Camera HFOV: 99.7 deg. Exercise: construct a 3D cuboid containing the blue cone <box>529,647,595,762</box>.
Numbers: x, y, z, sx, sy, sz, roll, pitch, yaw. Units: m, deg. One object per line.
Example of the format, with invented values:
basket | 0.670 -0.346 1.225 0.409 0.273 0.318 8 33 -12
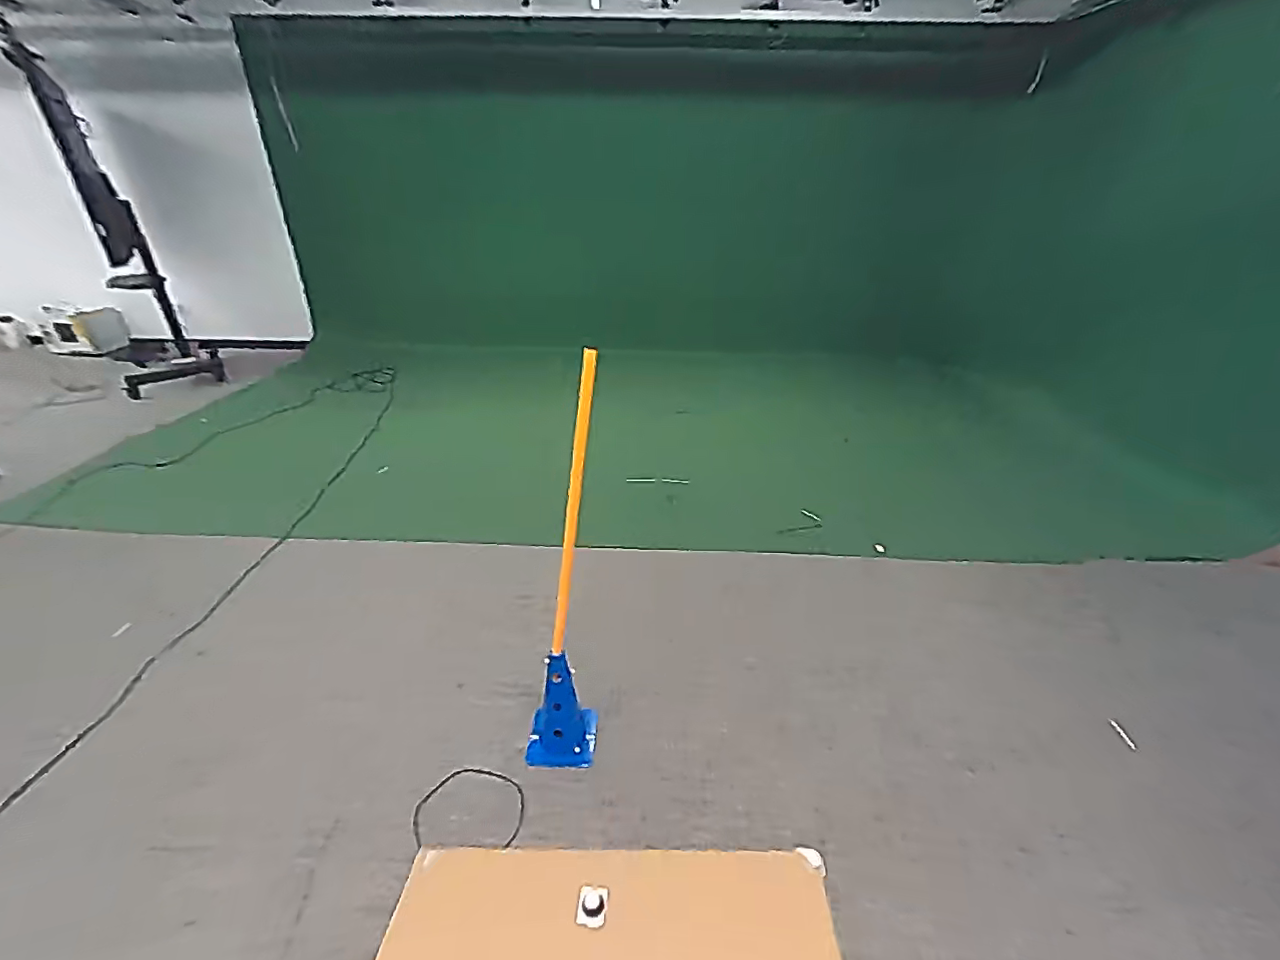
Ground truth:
blue cone | -0.226 0.621 1.560 0.193 0.380 0.192 2 29 -2
